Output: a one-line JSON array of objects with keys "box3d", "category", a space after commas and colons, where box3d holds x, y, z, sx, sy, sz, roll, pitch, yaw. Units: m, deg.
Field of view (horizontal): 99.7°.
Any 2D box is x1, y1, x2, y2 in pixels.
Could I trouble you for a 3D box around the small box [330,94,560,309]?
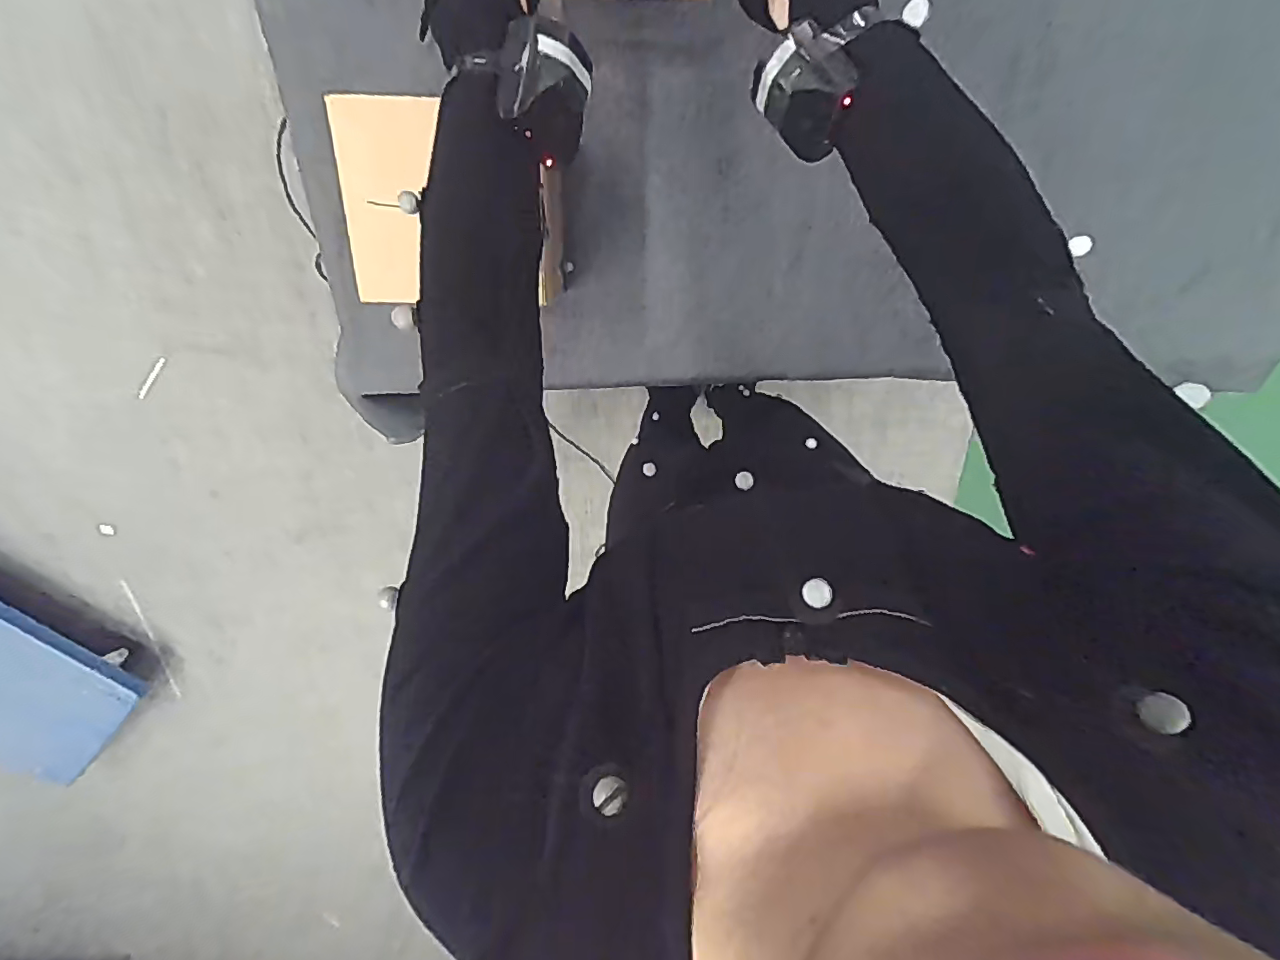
[{"box3d": [-0.175, -0.272, 0.553, 0.179, 0.176, 0.168, 2, 112, -1], "category": "small box"}]
